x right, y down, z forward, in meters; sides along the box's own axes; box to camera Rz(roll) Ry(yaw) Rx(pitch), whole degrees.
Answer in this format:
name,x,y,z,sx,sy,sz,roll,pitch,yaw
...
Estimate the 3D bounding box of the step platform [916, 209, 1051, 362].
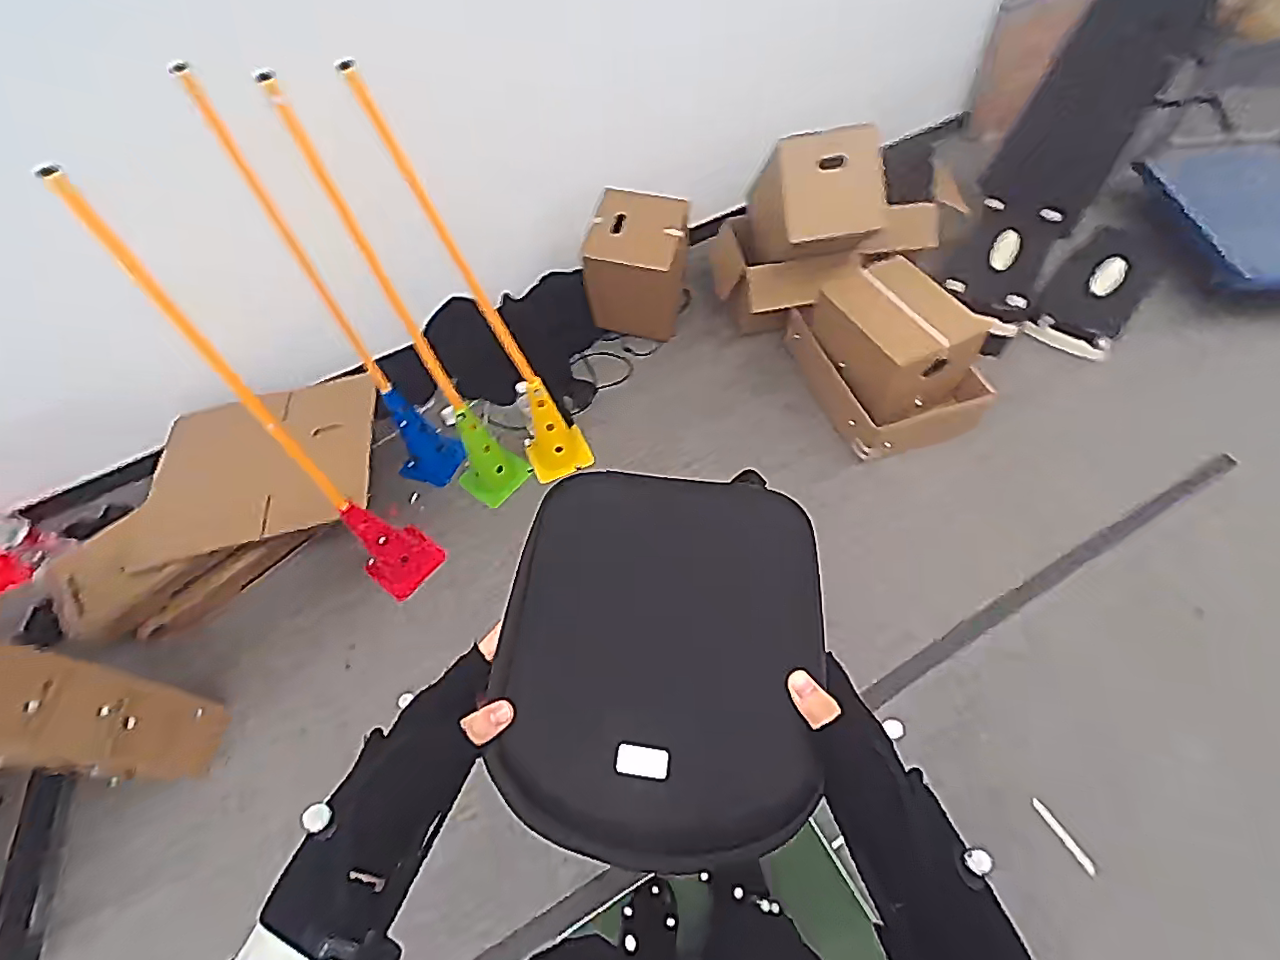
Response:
name,x,y,z,sx,sy,sz,roll,pitch,yaw
step platform,1.309,-0.756,2.053,0.286,0.204,0.684,25,63,21
